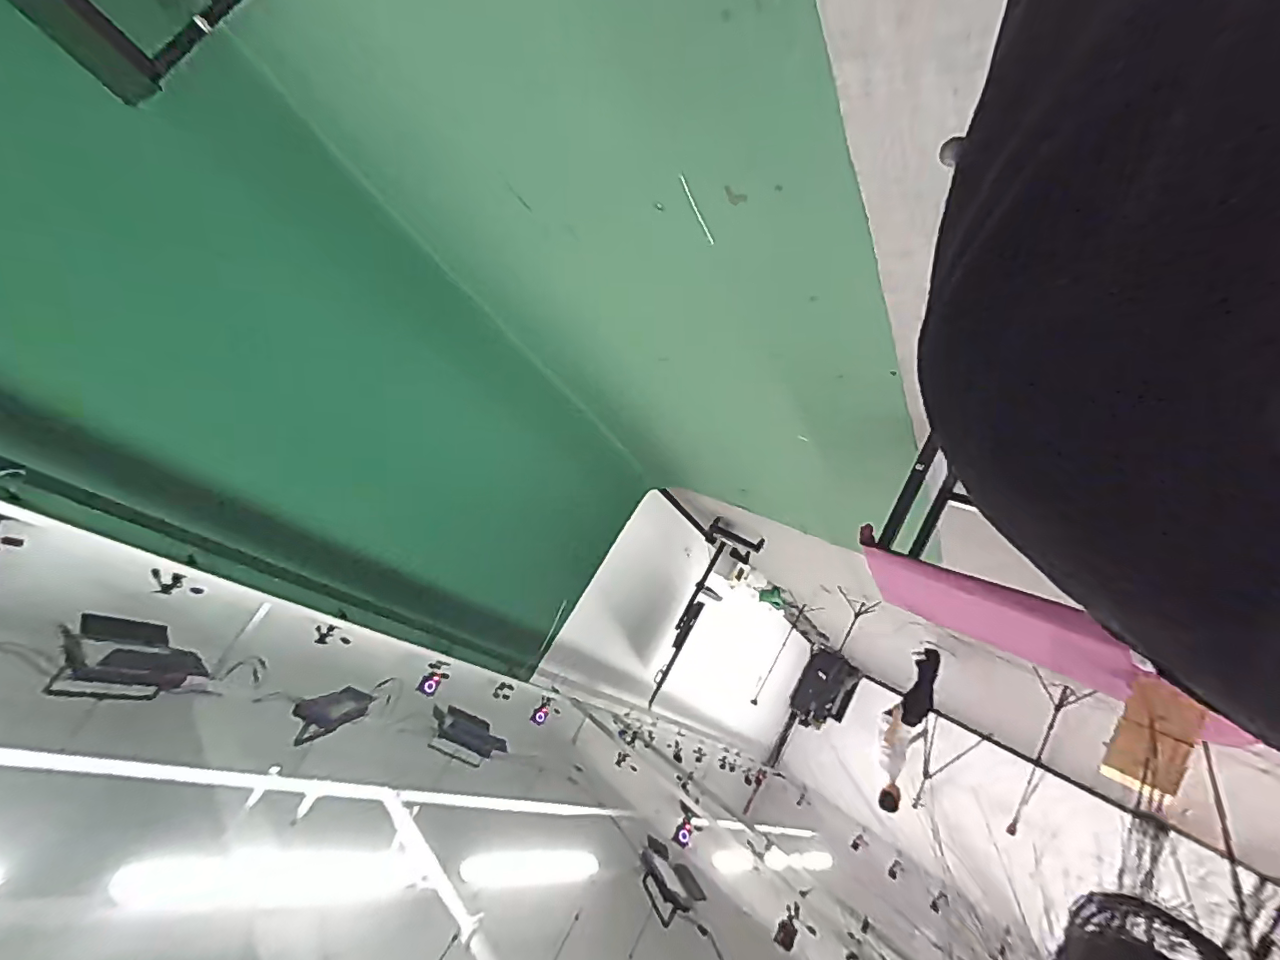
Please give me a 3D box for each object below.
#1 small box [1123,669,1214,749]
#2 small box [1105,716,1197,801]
[{"bbox_3d":[1.695,0.739,1.739,0.179,0.176,0.168,20,162,45],"label":"small box"},{"bbox_3d":[1.606,0.869,1.704,0.179,0.176,0.168,18,160,47],"label":"small box"}]
